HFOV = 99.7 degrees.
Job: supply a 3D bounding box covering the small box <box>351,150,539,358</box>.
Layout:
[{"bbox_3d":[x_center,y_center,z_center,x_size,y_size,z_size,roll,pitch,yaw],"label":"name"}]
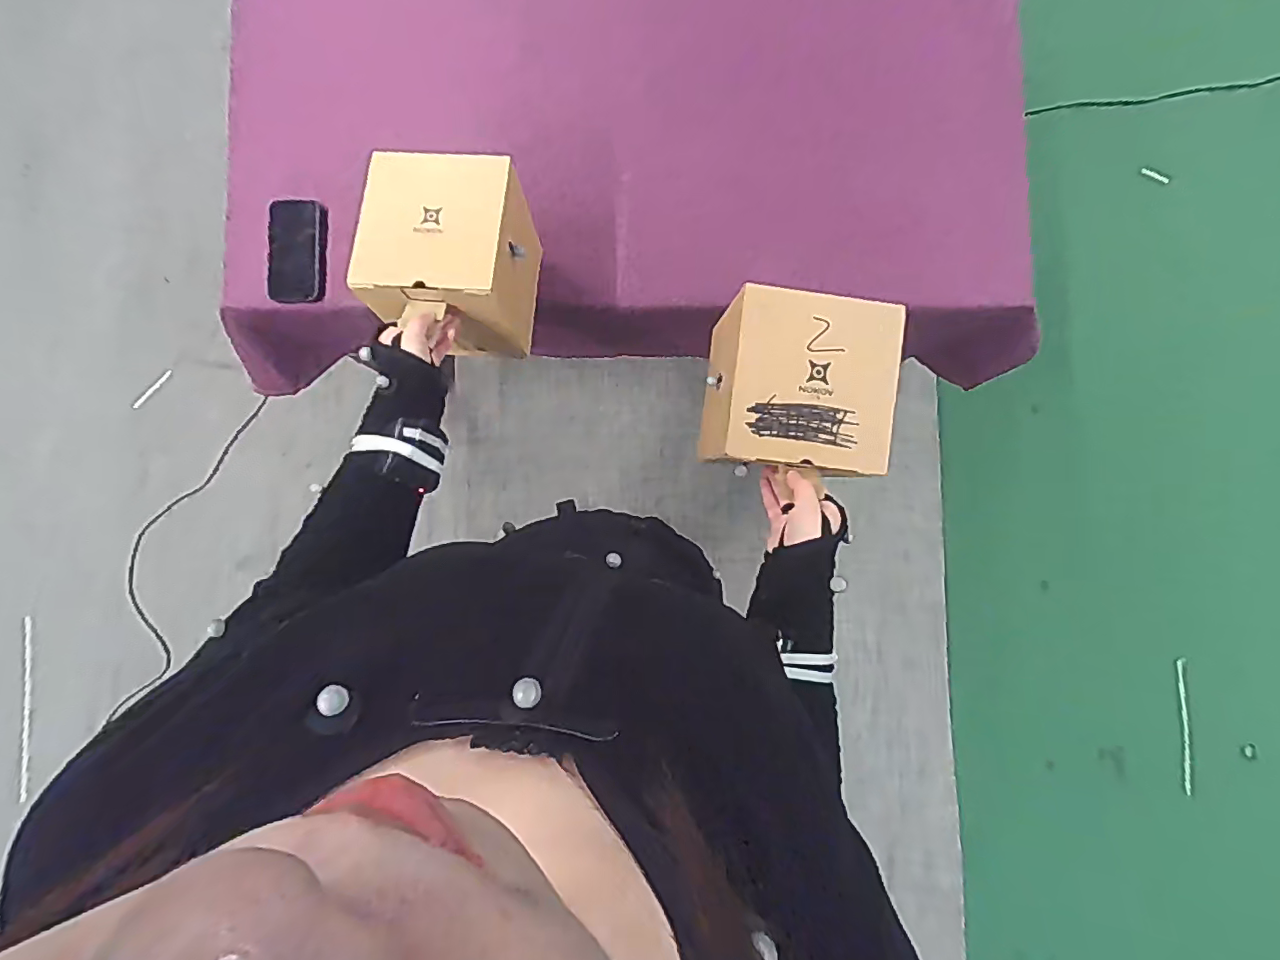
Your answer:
[{"bbox_3d":[-0.230,-0.277,0.689,0.168,0.176,0.179,4,78,2],"label":"small box"}]
